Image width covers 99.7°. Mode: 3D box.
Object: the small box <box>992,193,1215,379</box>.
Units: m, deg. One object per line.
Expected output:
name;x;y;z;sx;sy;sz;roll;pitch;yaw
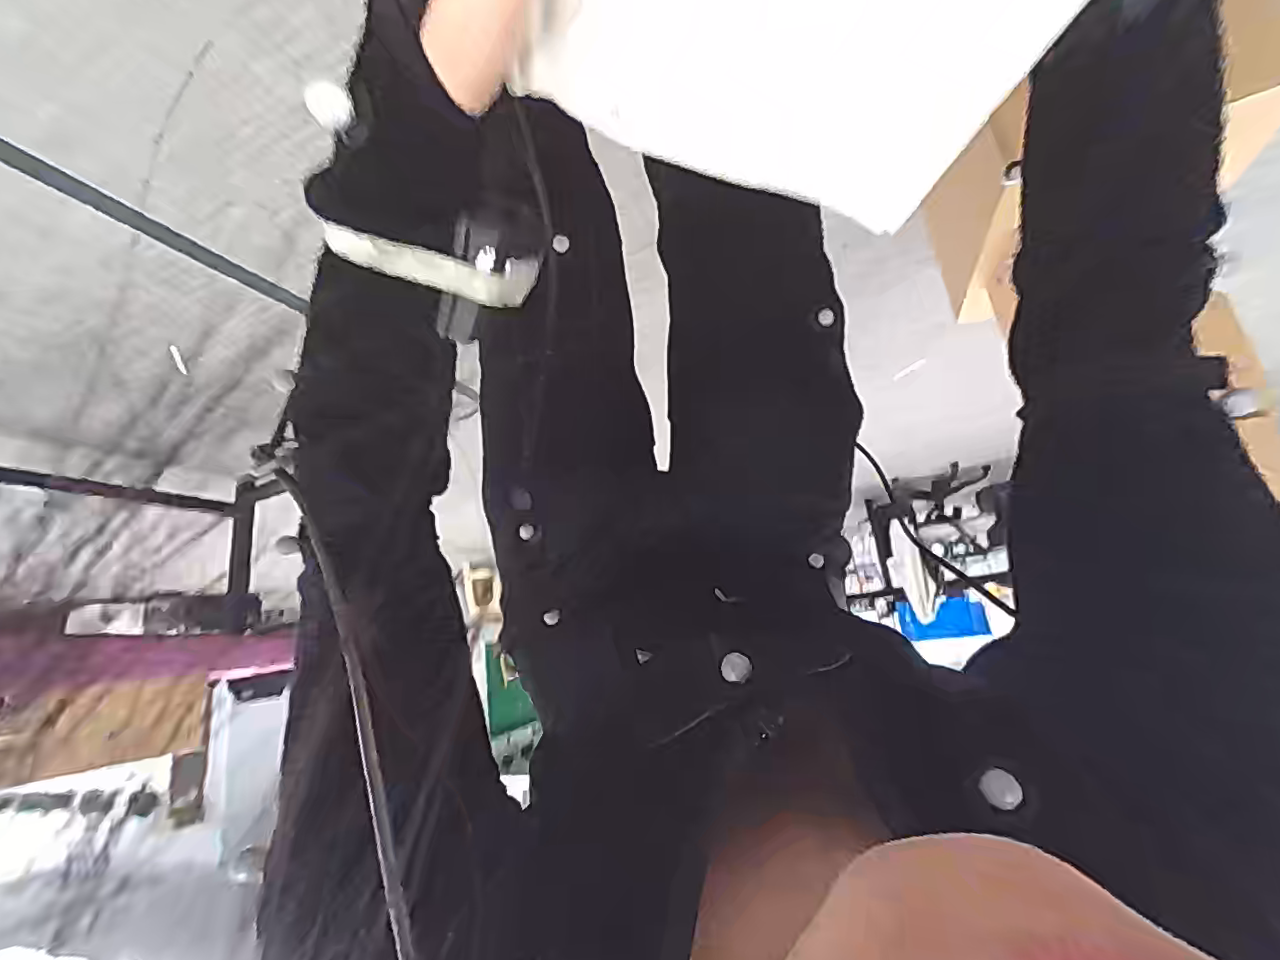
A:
small box;0.652;-0.275;0.793;0.179;0.176;0.168;-13;163;16
